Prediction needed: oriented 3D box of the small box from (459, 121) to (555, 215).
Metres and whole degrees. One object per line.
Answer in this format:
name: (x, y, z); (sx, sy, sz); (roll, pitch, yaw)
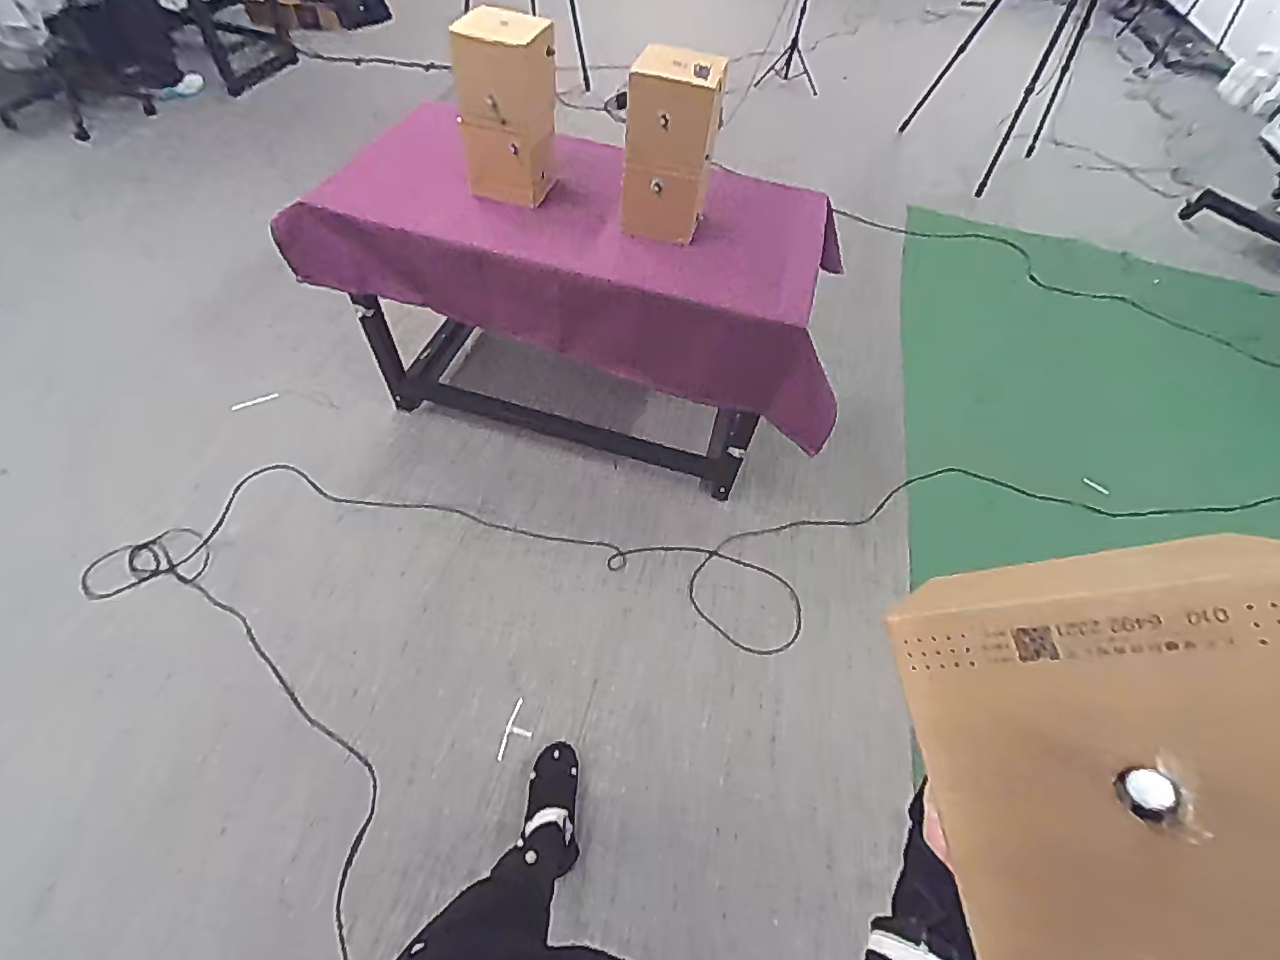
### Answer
small box: (-0.317, -0.779, 1.329); (0.179, 0.176, 0.168); (15, 54, 4)

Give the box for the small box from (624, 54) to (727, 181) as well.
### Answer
small box: (0.072, -0.768, 1.157); (0.179, 0.176, 0.168); (14, 55, 5)

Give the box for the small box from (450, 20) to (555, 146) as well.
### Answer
small box: (-0.294, -0.876, 1.196); (0.168, 0.176, 0.179); (14, 54, 4)

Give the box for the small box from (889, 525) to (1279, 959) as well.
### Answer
small box: (0.252, 0.123, 0.288); (0.179, 0.168, 0.176); (4, 71, -54)

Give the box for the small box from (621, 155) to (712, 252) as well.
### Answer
small box: (0.058, -0.673, 1.290); (0.179, 0.176, 0.168); (16, 55, 5)
